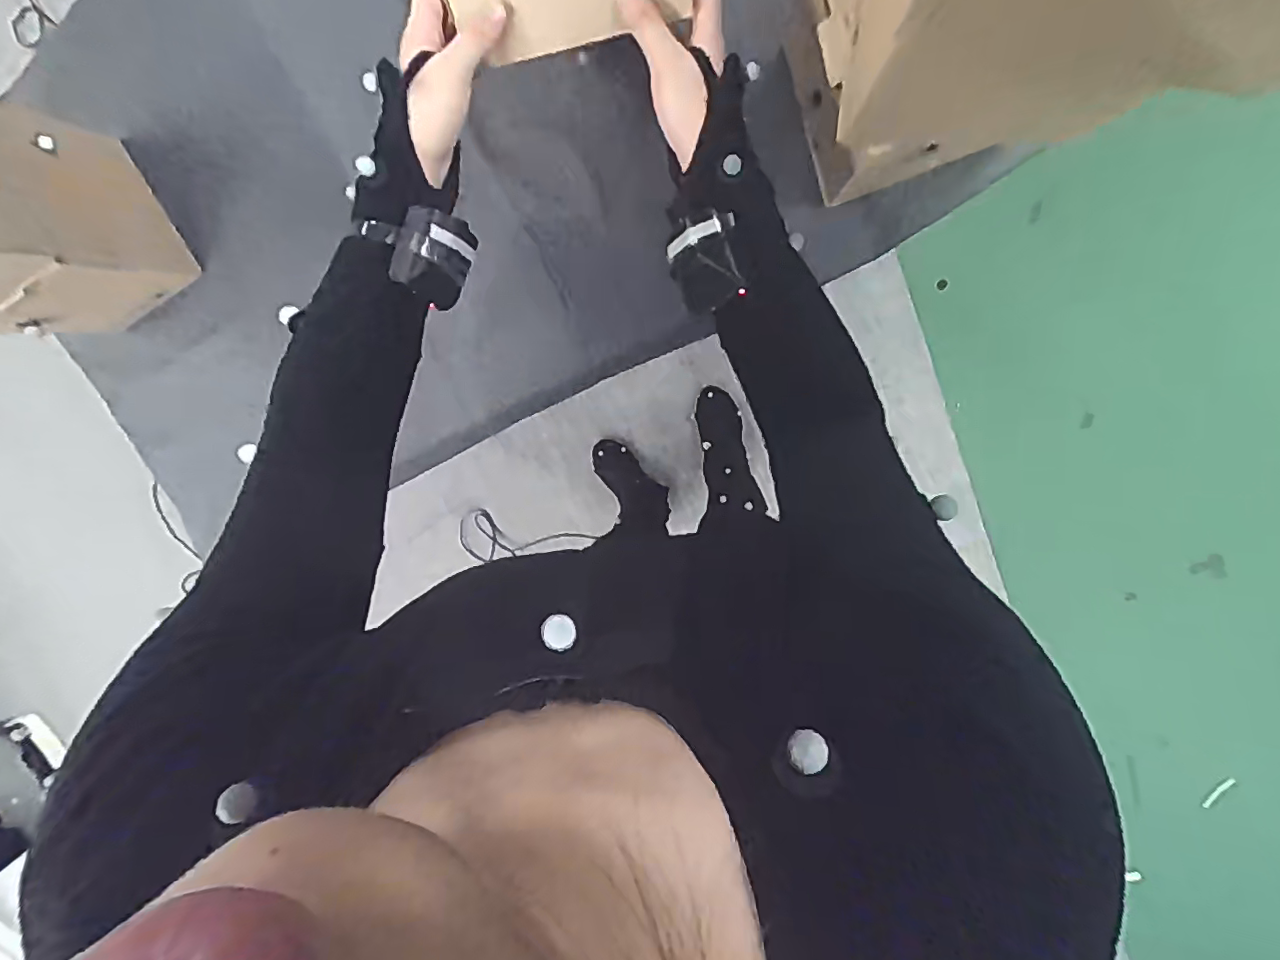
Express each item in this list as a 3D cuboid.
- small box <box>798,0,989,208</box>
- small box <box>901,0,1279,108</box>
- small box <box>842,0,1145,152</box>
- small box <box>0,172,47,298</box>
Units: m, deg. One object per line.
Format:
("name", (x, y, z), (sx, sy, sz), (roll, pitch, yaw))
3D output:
("small box", (0.242, -0.360, 0.462), (0.179, 0.176, 0.168), (-17, 102, 14))
("small box", (0.210, -0.239, 0.156), (0.179, 0.176, 0.168), (14, 106, 5))
("small box", (0.227, -0.304, 0.309), (0.179, 0.176, 0.168), (4, 105, 7))
("small box", (-0.694, -0.233, 0.461), (0.179, 0.176, 0.168), (-23, 104, 13))
